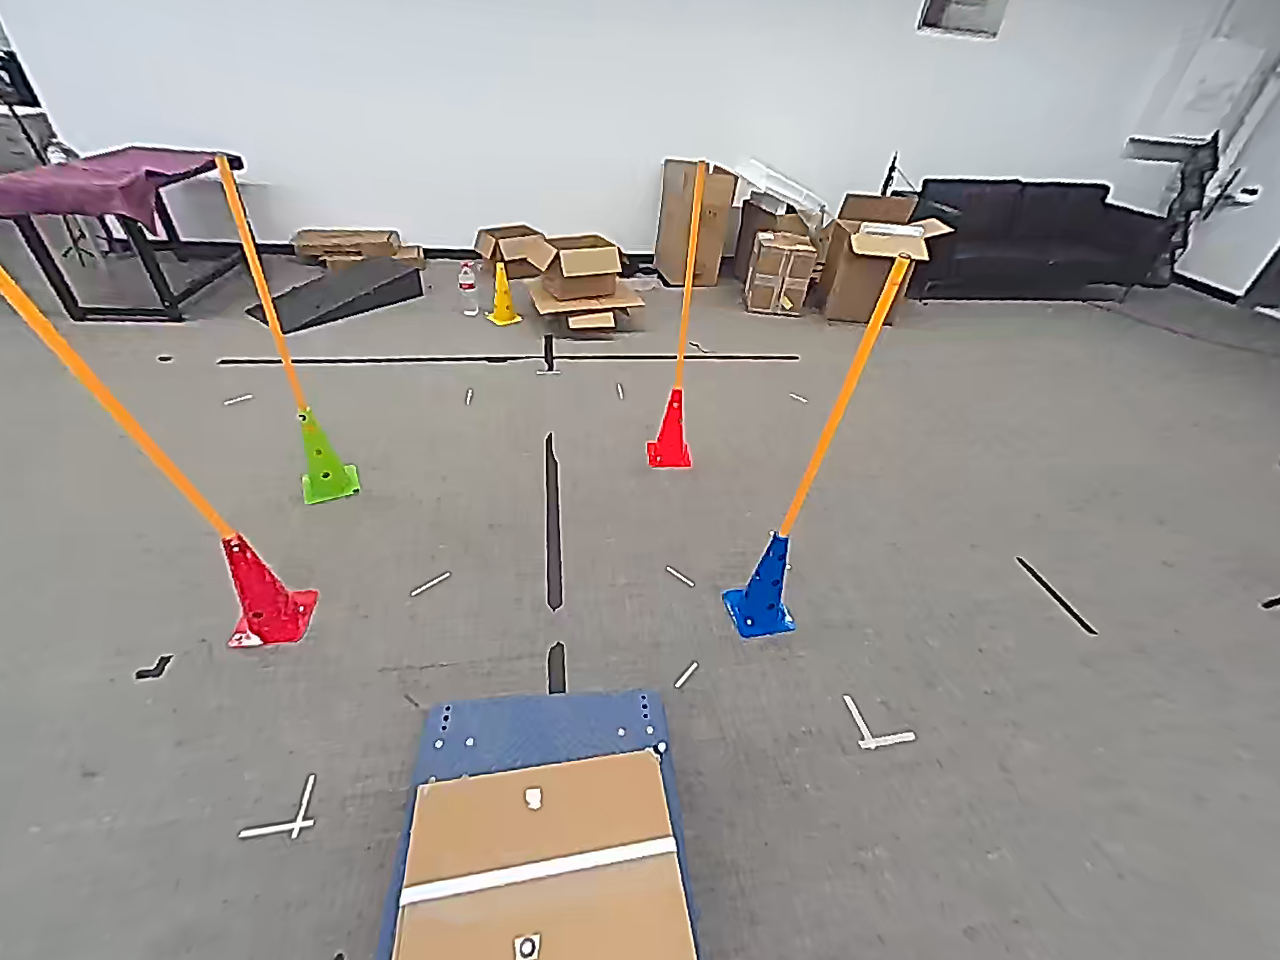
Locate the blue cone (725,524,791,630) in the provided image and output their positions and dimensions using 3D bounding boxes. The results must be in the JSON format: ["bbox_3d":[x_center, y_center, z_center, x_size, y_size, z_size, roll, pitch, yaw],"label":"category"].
[{"bbox_3d":[0.416,0.300,1.750,0.193,0.380,0.192,-5,38,-13],"label":"blue cone"}]

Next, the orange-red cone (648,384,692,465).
[{"bbox_3d":[0.152,-0.264,2.415,0.199,0.360,0.198,3,39,-5],"label":"orange-red cone"}]
